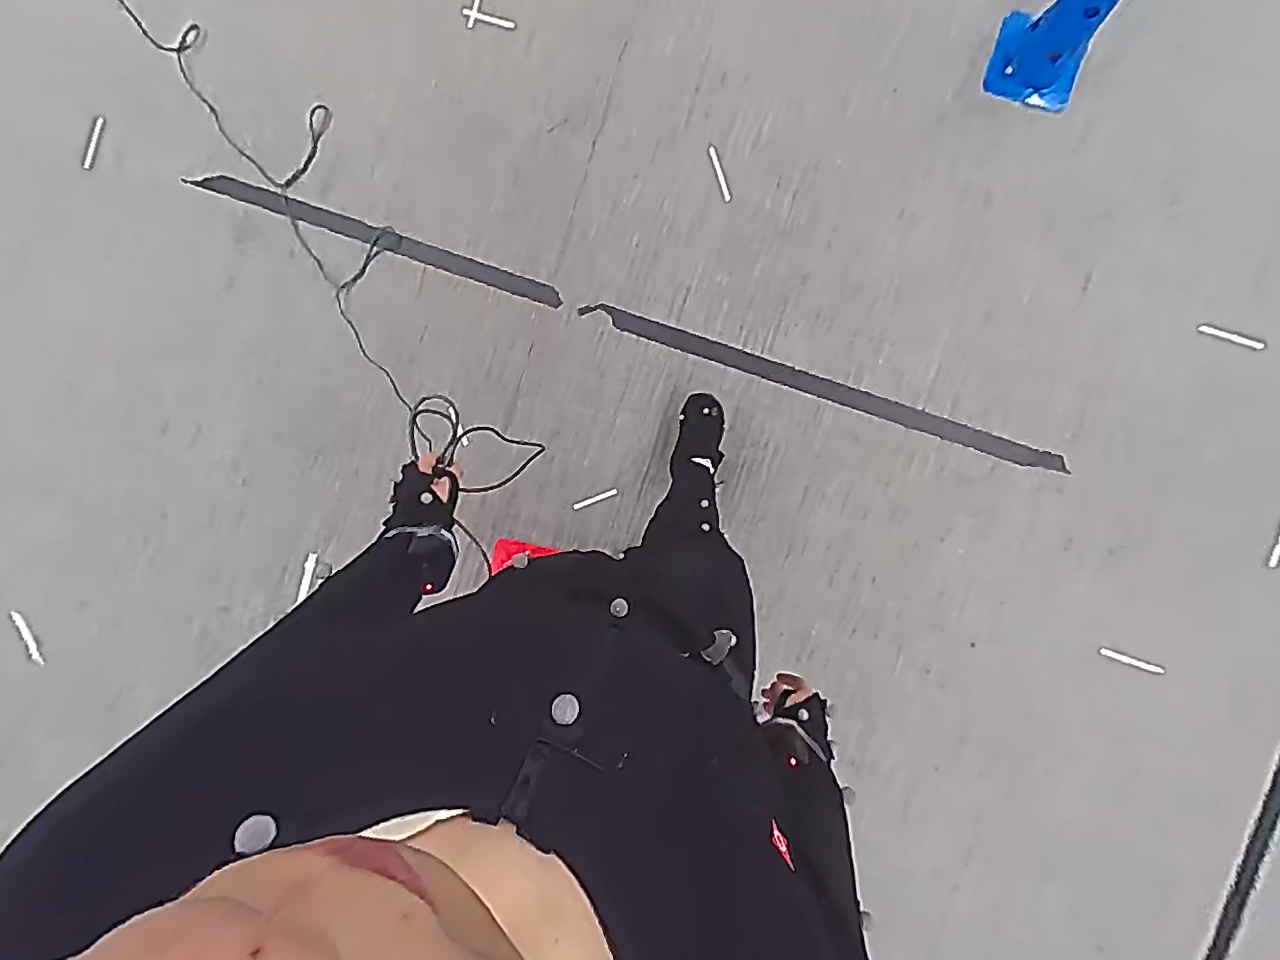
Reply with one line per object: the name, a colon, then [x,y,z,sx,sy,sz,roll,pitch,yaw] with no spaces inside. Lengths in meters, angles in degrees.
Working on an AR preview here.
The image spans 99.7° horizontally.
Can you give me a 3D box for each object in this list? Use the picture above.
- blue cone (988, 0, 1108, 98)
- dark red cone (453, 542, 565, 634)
blue cone: [0.920,-1.002,1.103,0.193,0.380,0.192,19,91,2]
dark red cone: [-0.304,0.262,1.165,0.202,0.394,0.201,11,91,3]
